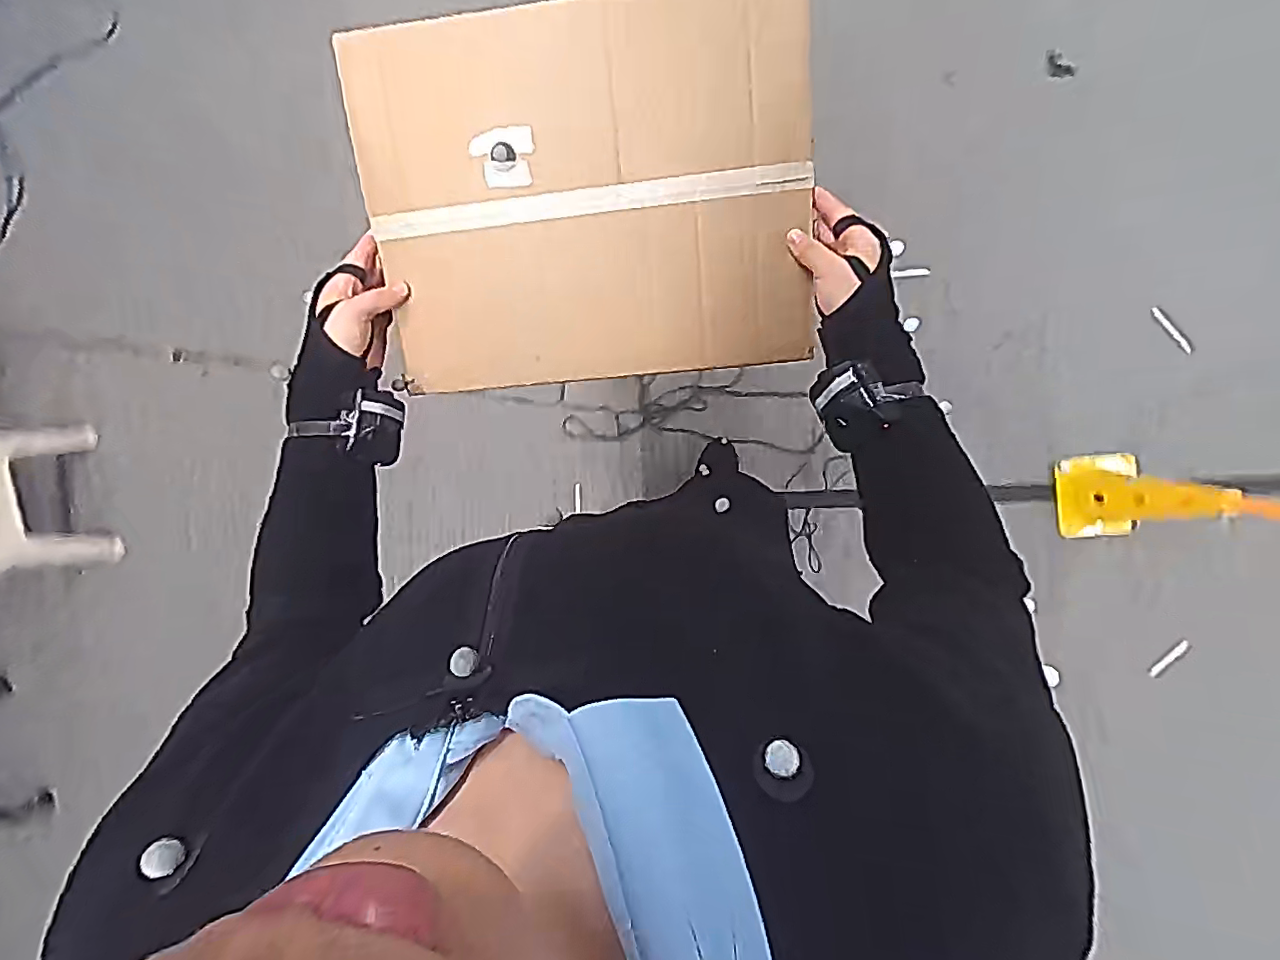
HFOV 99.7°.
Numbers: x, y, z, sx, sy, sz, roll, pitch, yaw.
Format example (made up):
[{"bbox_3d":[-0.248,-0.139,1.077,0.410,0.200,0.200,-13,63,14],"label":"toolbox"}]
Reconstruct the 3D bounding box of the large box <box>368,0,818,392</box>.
[{"bbox_3d":[-0.025,-0.295,0.649,0.408,0.320,0.320,-4,105,5],"label":"large box"}]
